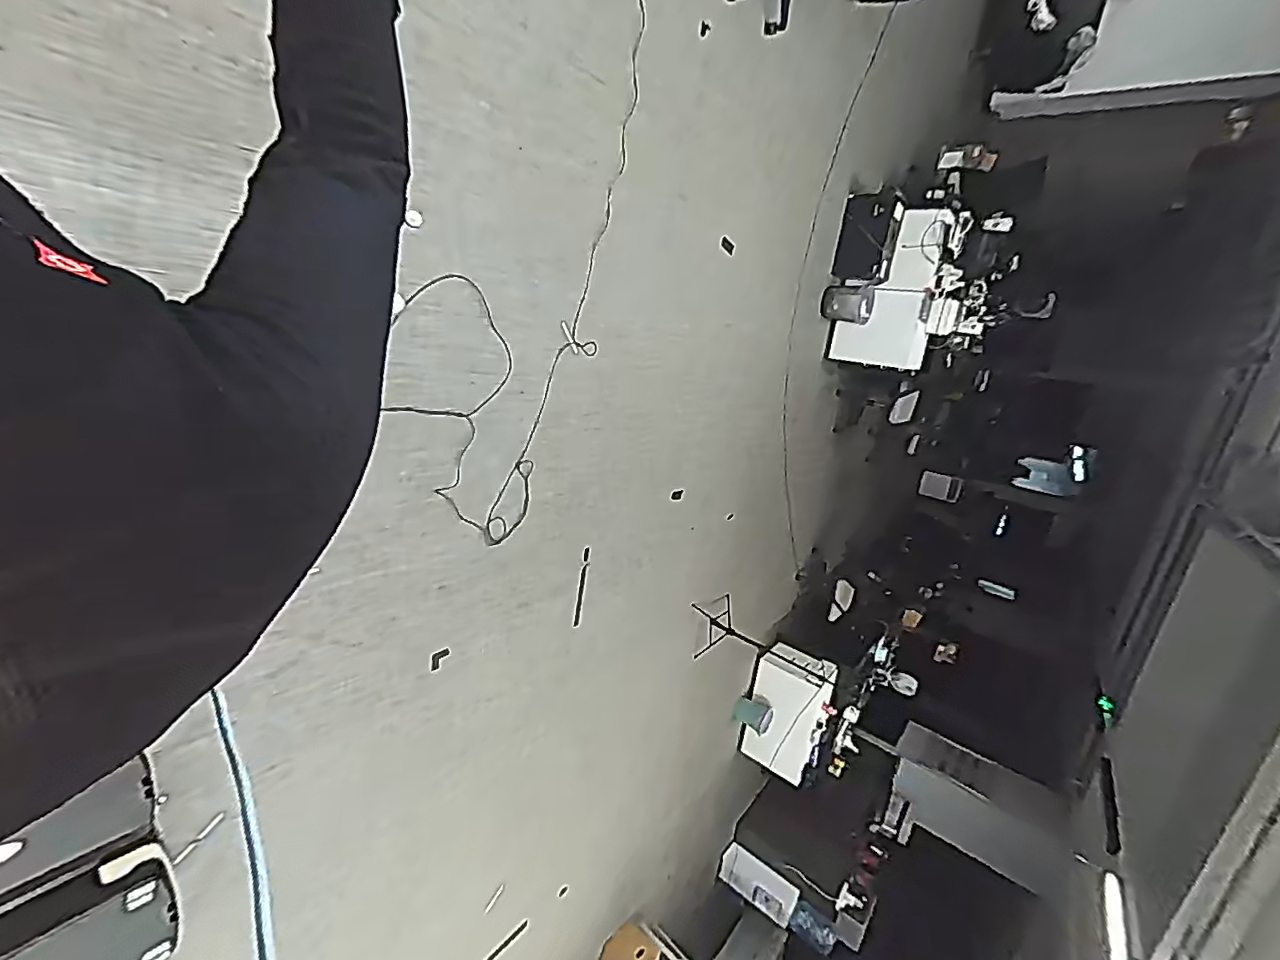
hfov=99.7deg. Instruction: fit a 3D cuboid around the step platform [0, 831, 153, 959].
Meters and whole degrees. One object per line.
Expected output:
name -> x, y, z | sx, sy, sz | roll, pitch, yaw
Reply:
step platform -> -1.413, 1.047, 1.058 | 0.684, 0.204, 0.286 | -14, 117, -49
